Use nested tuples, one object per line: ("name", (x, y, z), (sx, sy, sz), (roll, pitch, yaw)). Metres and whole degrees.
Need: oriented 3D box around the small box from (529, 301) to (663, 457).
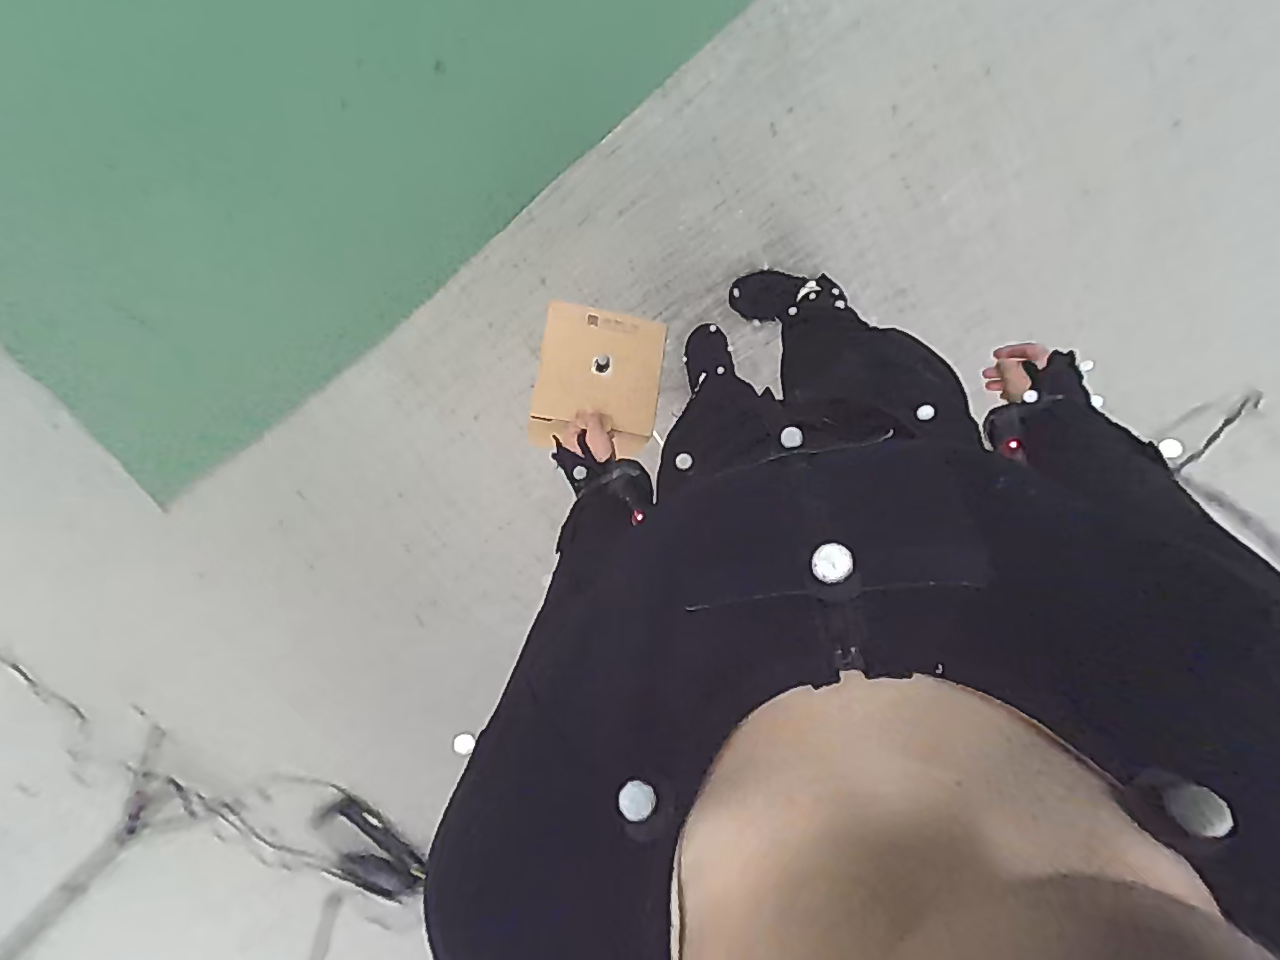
("small box", (-0.068, -0.142, 0.801), (0.168, 0.179, 0.176), (9, 80, -12))
